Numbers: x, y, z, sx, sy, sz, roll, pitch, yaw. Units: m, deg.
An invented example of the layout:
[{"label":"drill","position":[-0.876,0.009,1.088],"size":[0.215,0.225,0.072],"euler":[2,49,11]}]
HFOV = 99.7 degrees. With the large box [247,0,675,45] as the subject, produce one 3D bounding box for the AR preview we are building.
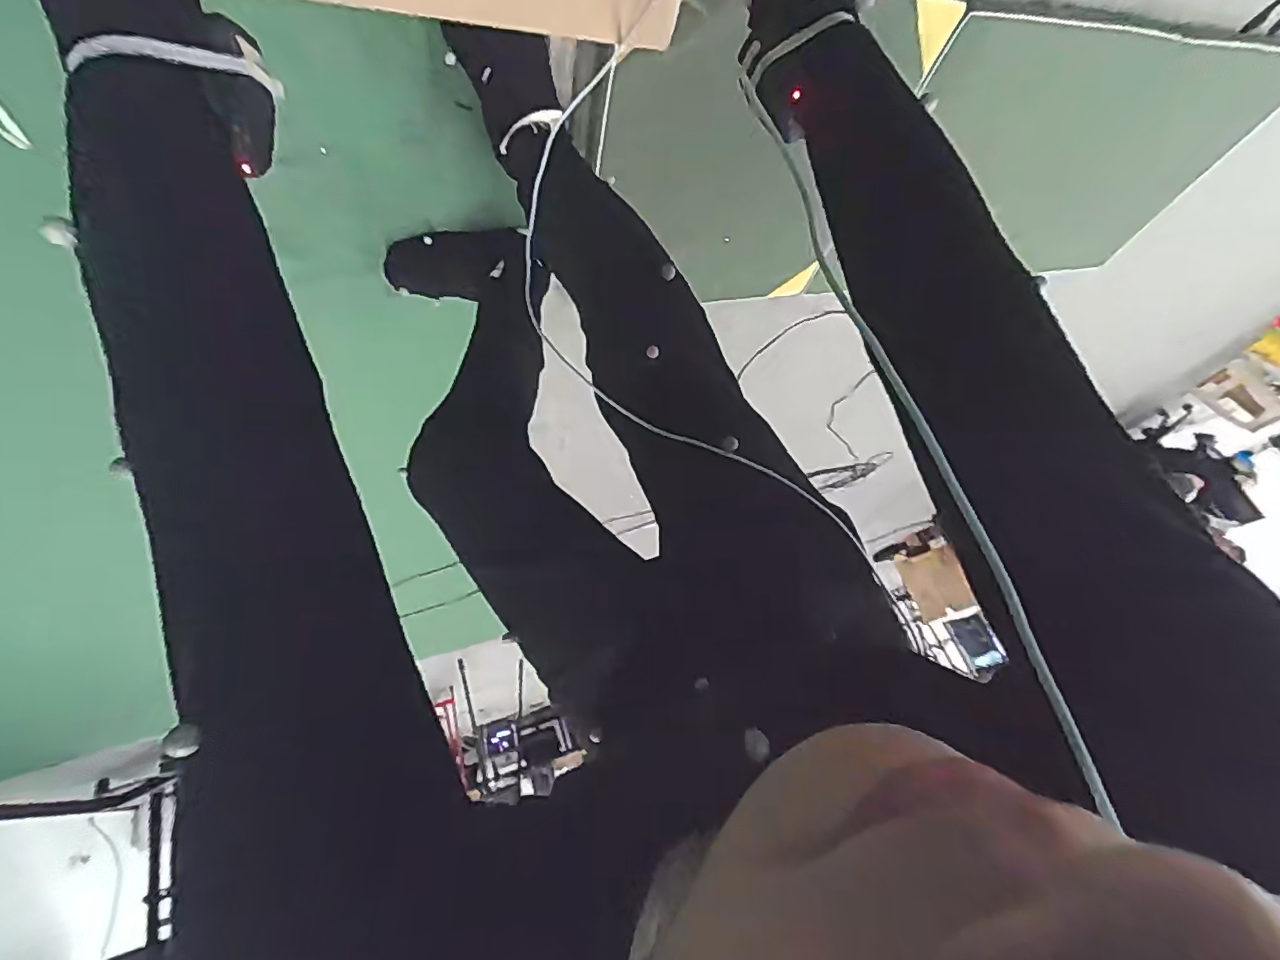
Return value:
[{"label":"large box","position":[-0.173,-0.597,0.402],"size":[0.408,0.320,0.320],"euler":[-11,155,-22]}]
